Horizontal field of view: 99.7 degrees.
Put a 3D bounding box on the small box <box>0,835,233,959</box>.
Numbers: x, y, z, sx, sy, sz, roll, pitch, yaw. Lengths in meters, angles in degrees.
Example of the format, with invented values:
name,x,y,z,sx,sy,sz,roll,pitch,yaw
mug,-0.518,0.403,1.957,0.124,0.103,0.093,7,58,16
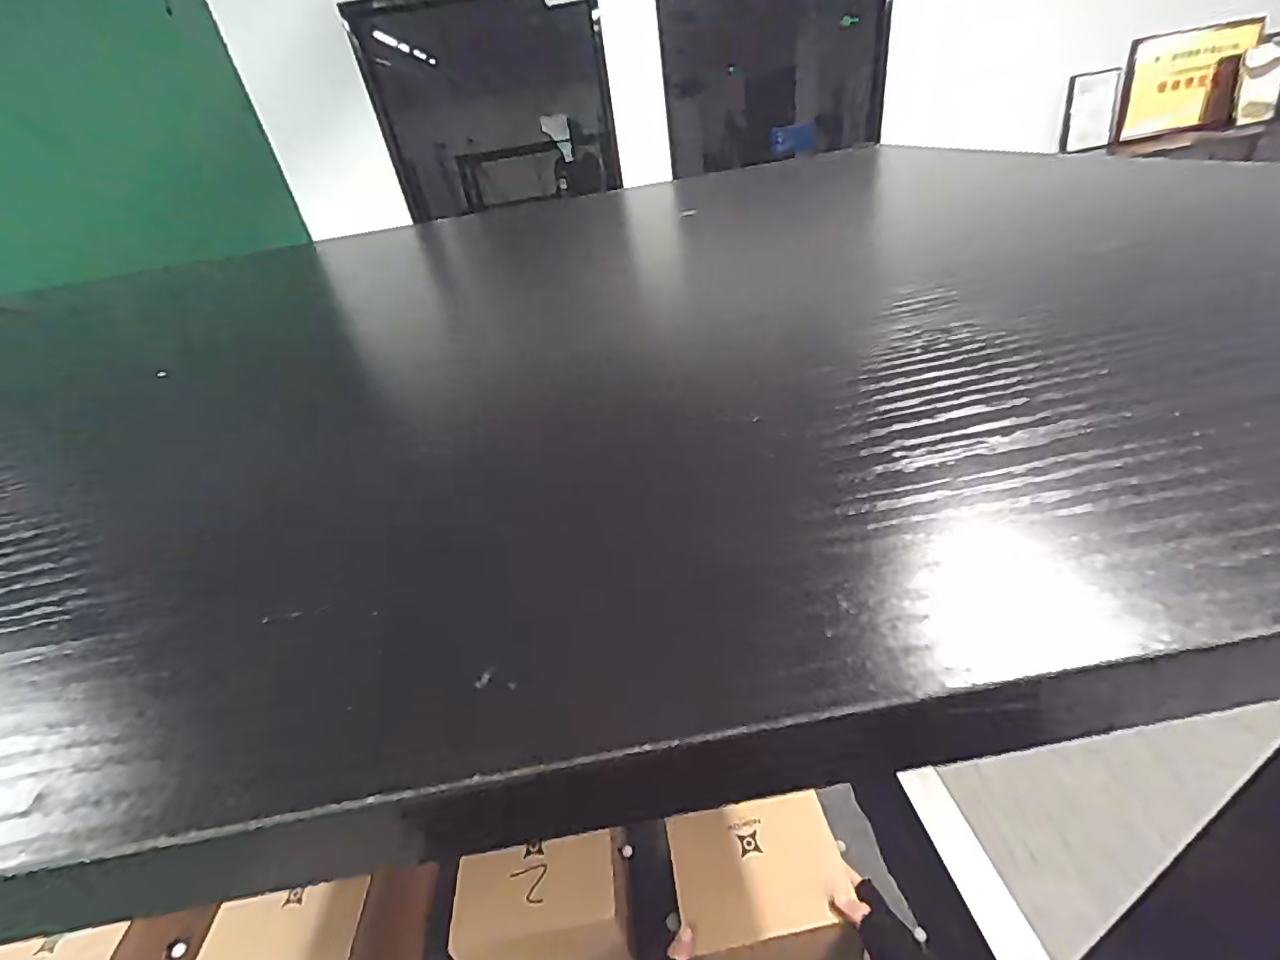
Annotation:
name,x,y,z,sx,sy,sz,roll,pitch,yaw
small box,-0.607,0.552,0.622,0.168,0.176,0.179,-10,33,0

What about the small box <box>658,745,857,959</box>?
name,x,y,z,sx,sy,sz,roll,pitch,yaw
small box,0.125,0.437,0.597,0.168,0.176,0.179,-13,29,-1

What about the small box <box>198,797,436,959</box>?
name,x,y,z,sx,sy,sz,roll,pitch,yaw
small box,-0.357,0.511,0.628,0.168,0.176,0.179,-10,33,-1
